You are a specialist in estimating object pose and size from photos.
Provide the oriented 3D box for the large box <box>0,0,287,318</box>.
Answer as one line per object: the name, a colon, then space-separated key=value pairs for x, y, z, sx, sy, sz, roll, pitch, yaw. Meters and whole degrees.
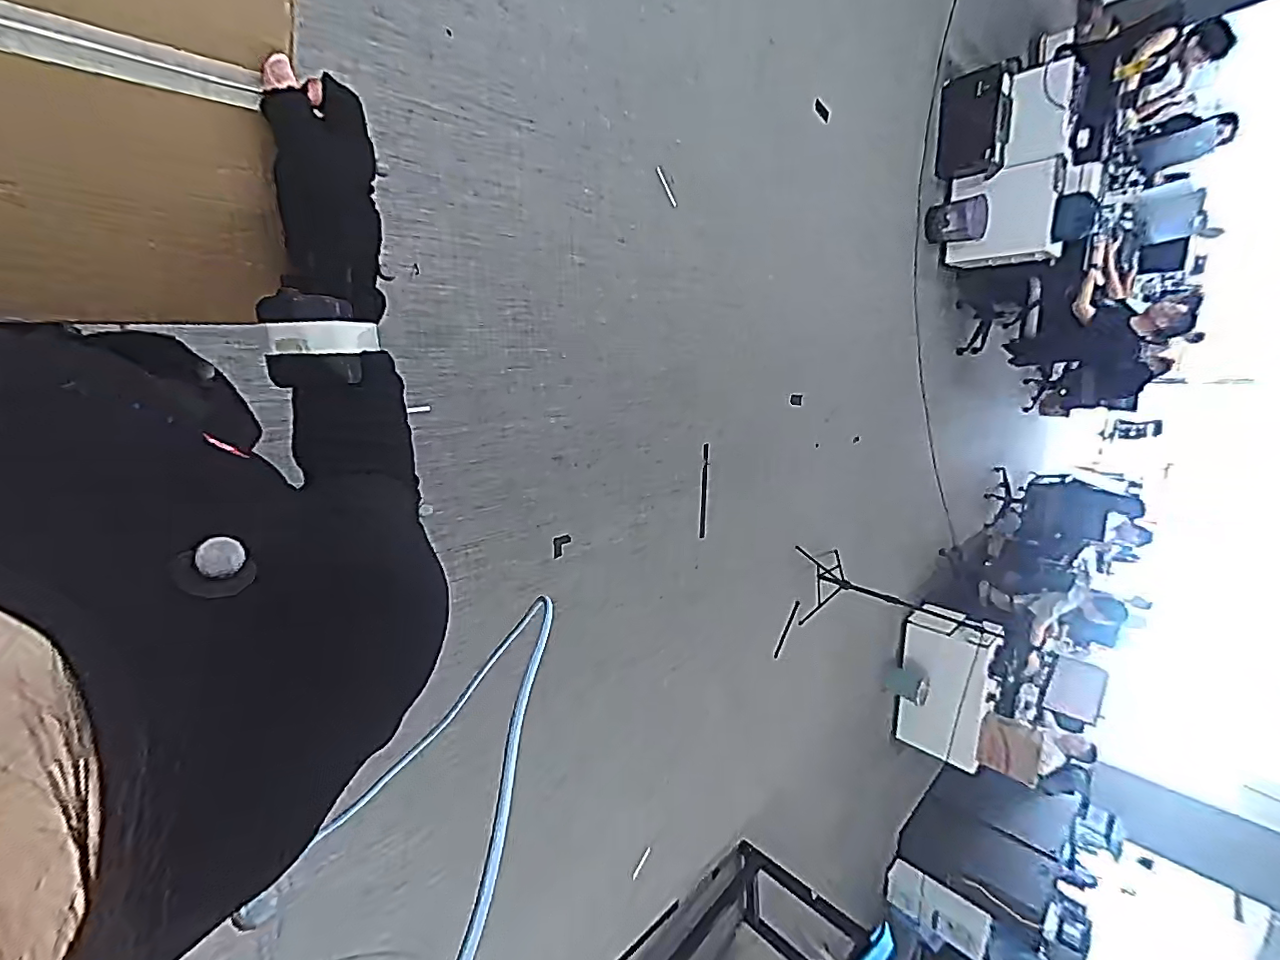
large box: x=-0.464 y=-0.299 z=0.280 sx=0.408 sy=0.320 sz=0.320 roll=-17 pitch=141 yaw=-45
